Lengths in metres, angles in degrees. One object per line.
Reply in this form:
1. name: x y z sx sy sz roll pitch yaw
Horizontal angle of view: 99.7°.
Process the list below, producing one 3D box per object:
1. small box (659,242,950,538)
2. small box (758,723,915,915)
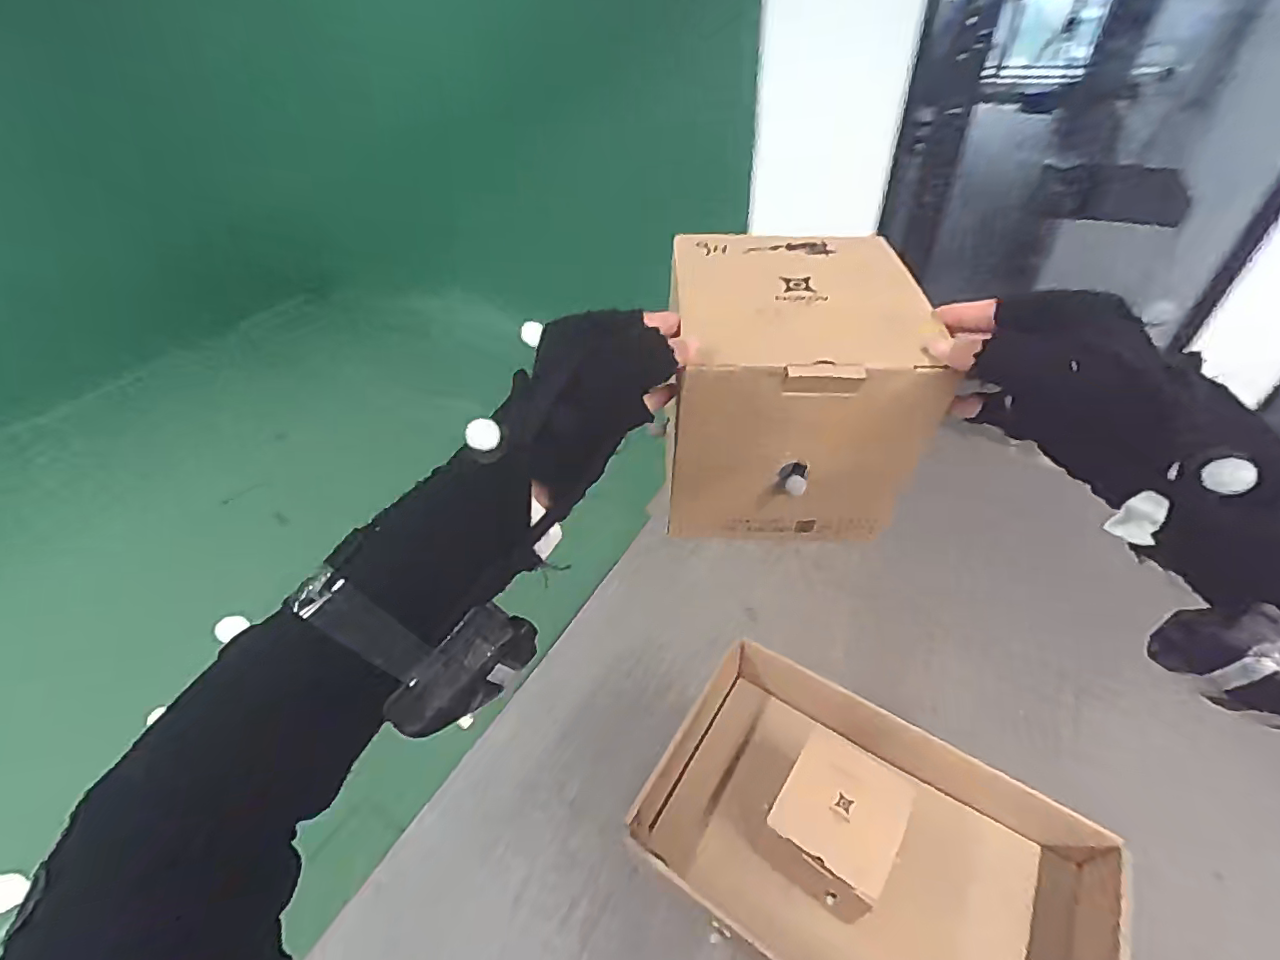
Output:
1. small box: 0.101 -0.068 0.429 0.168 0.176 0.179 1 48 0
2. small box: 0.299 0.533 0.851 0.168 0.176 0.179 27 50 26
